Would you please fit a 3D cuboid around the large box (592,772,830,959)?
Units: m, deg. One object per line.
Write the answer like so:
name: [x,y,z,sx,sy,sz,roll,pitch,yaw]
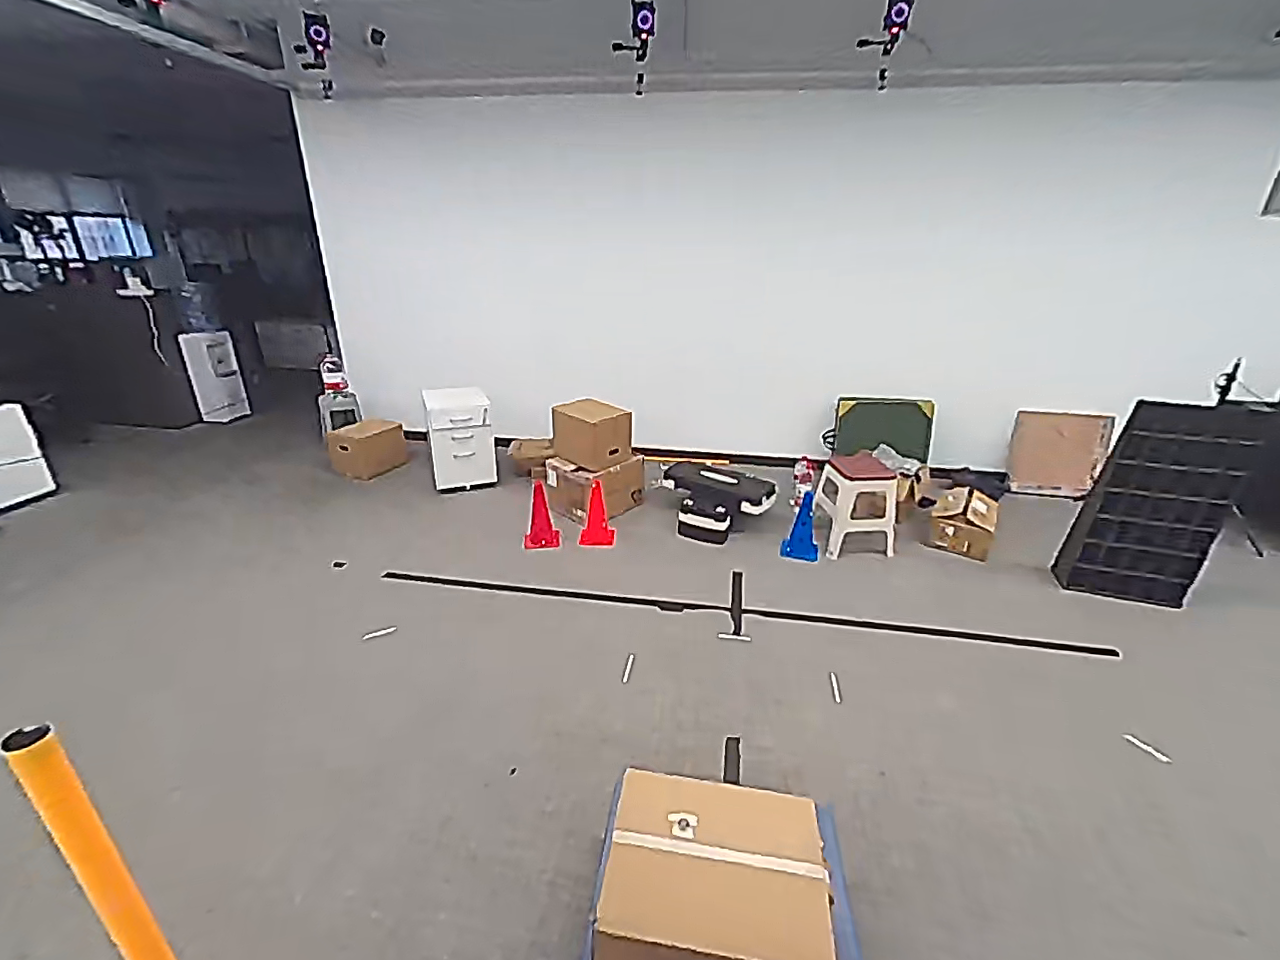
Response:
large box: [0.138,0.853,1.092,0.408,0.320,0.320,4,24,9]
